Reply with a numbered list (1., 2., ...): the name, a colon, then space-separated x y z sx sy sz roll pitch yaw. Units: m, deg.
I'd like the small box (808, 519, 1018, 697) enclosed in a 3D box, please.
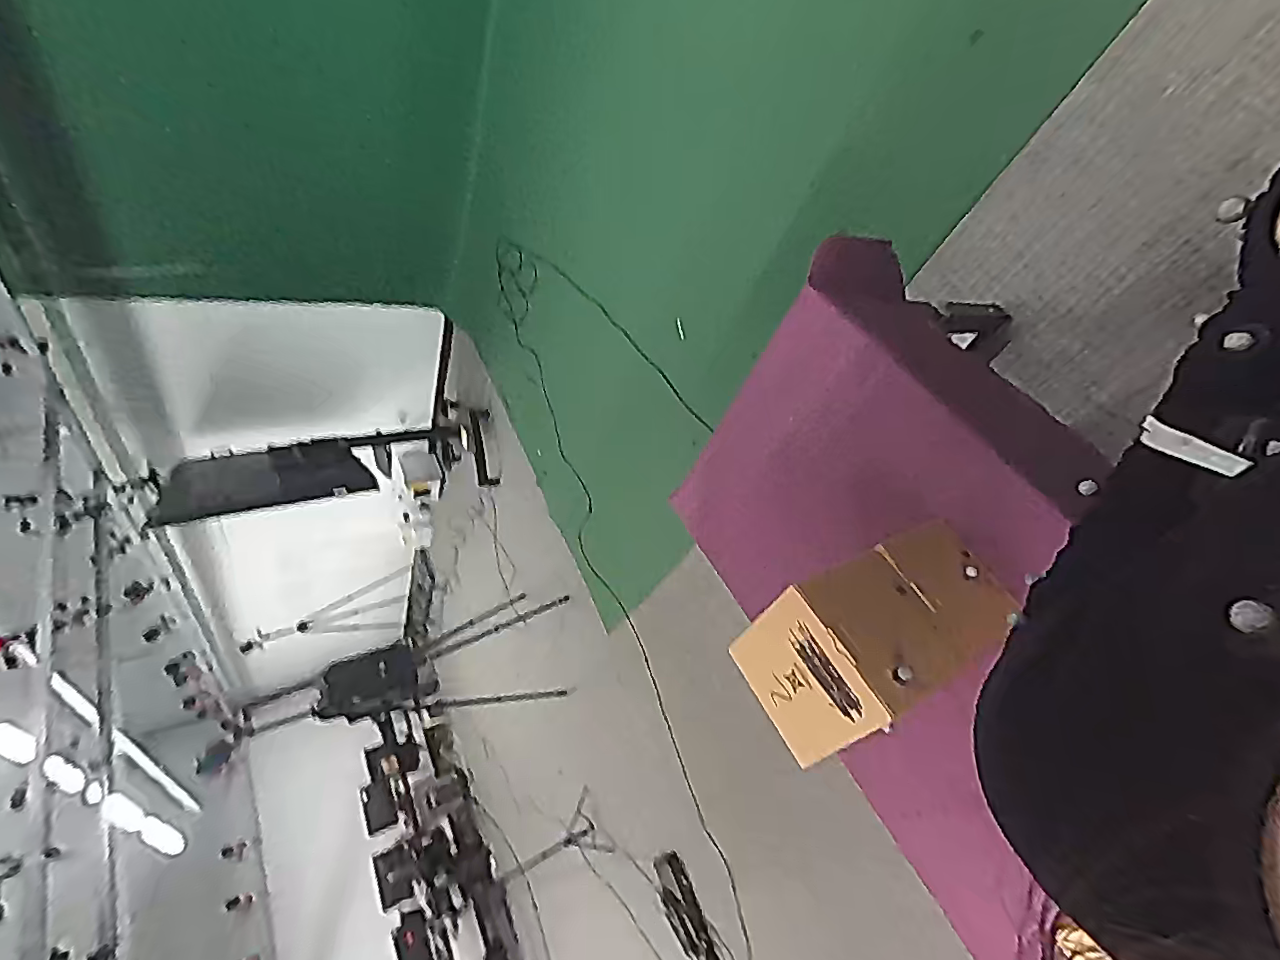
1. small box: 0.389 0.180 0.780 0.168 0.176 0.179 58 141 26
